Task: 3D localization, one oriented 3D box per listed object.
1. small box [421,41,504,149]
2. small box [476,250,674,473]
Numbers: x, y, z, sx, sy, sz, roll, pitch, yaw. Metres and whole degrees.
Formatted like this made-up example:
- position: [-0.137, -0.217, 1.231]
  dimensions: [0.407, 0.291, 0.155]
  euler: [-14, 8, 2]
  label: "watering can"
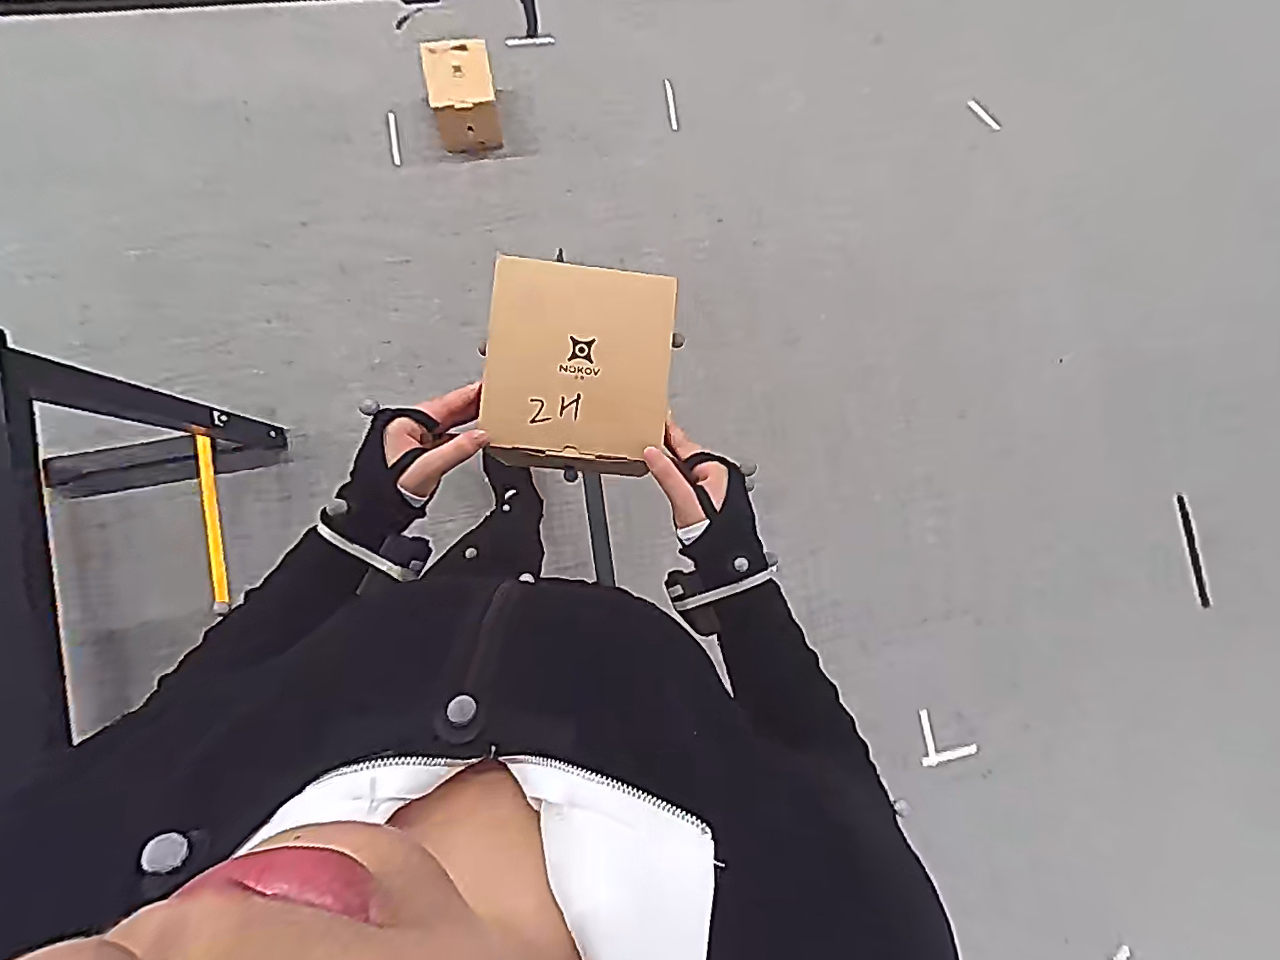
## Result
- position: [-0.469, -1.021, 1.452]
  dimensions: [0.168, 0.176, 0.179]
  euler: [-10, 88, -7]
  label: "small box"
- position: [-0.064, -0.108, 0.565]
  dimensions: [0.168, 0.176, 0.179]
  euler: [5, 85, -5]
  label: "small box"
